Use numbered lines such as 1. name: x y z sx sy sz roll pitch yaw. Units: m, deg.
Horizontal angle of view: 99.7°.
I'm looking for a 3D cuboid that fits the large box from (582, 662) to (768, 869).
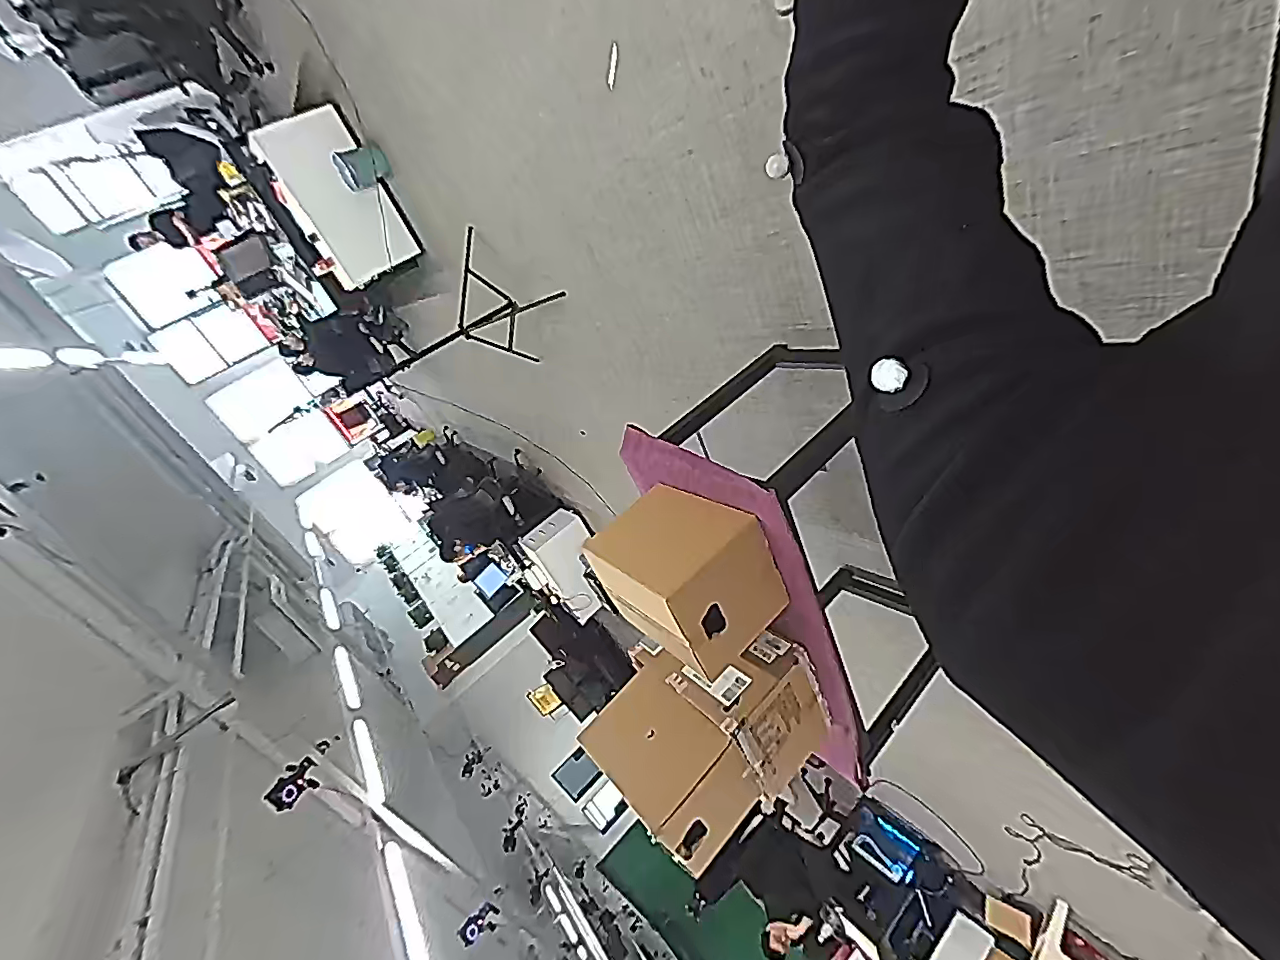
1. large box: 0.101 0.827 1.621 0.408 0.320 0.320 20 147 52
